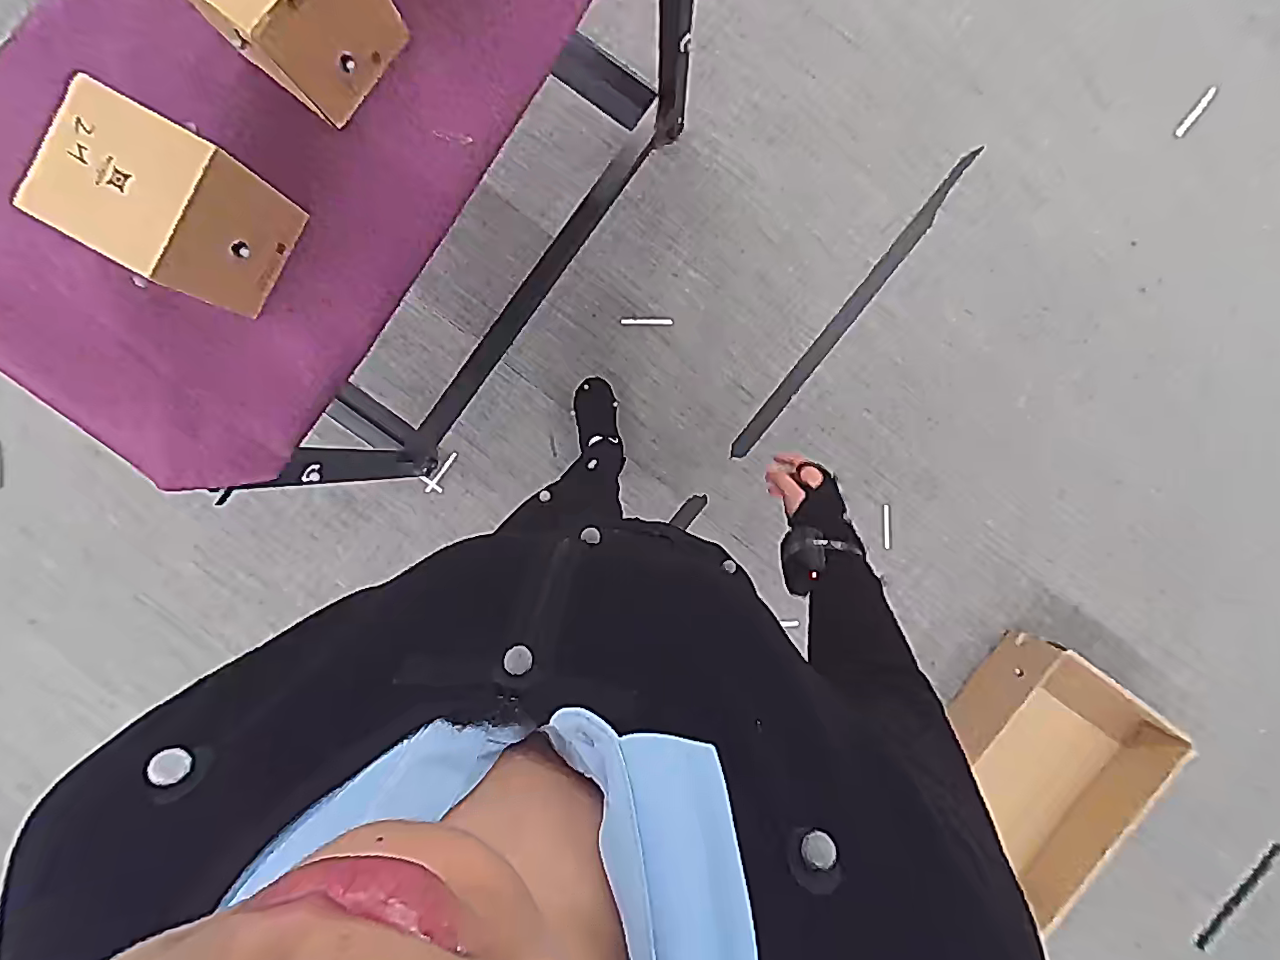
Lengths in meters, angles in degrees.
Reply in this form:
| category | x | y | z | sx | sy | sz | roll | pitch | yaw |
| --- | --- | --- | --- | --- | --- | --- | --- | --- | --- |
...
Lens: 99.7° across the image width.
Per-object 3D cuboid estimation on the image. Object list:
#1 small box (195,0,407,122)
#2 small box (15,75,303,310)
| category | x | y | z | sx | sy | sz | roll | pitch | yaw |
| --- | --- | --- | --- | --- | --- | --- | --- | --- | --- |
| small box | -0.431 | -0.596 | 0.663 | 0.179 | 0.176 | 0.168 | 39 | 92 | 0 |
| small box | -0.569 | -0.332 | 0.669 | 0.179 | 0.176 | 0.168 | 29 | 91 | 1 |
